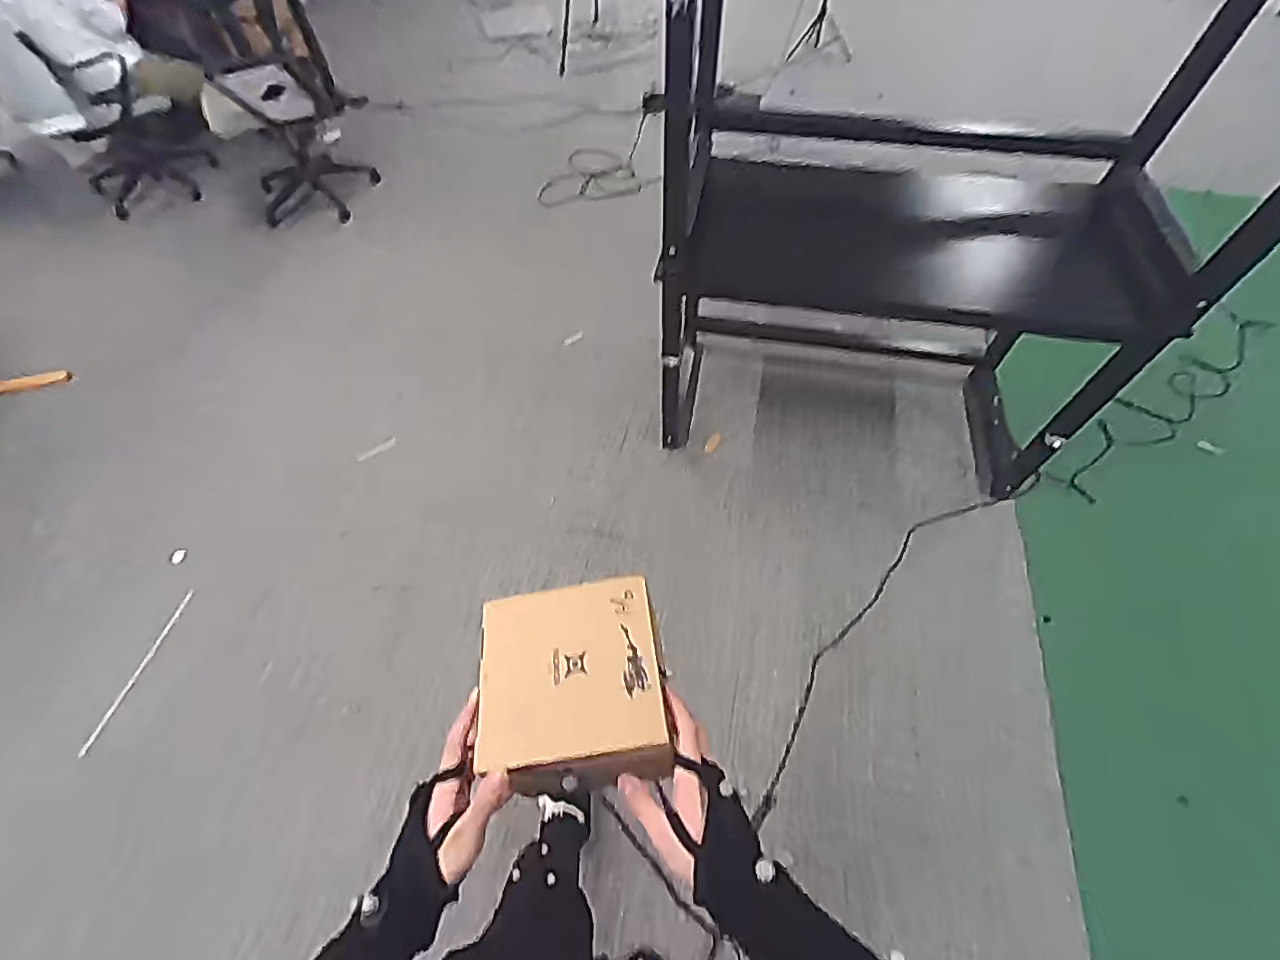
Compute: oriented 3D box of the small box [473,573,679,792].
[{"bbox_3d":[-0.060,0.223,0.584,0.179,0.176,0.168,-9,51,2],"label":"small box"}]
